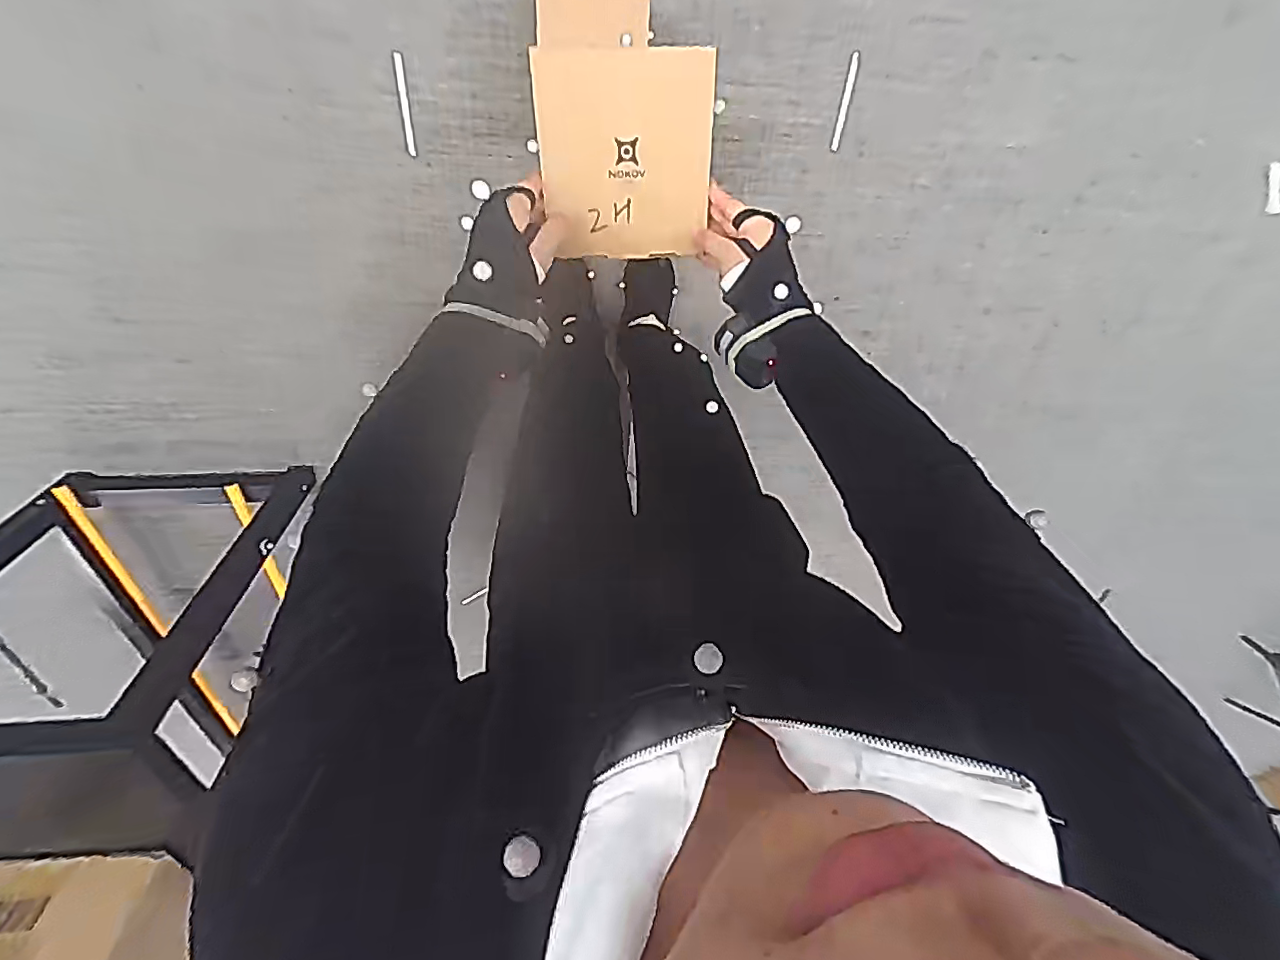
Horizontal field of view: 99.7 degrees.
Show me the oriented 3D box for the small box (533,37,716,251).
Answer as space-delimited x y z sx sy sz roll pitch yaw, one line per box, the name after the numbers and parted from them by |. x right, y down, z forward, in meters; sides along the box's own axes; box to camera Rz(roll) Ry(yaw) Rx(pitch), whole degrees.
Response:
-0.018 -0.359 0.584 0.168 0.176 0.179 -2 126 -2 | small box

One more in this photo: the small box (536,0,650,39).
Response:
-0.079 -0.670 0.875 0.168 0.176 0.179 0 128 -5 | small box
